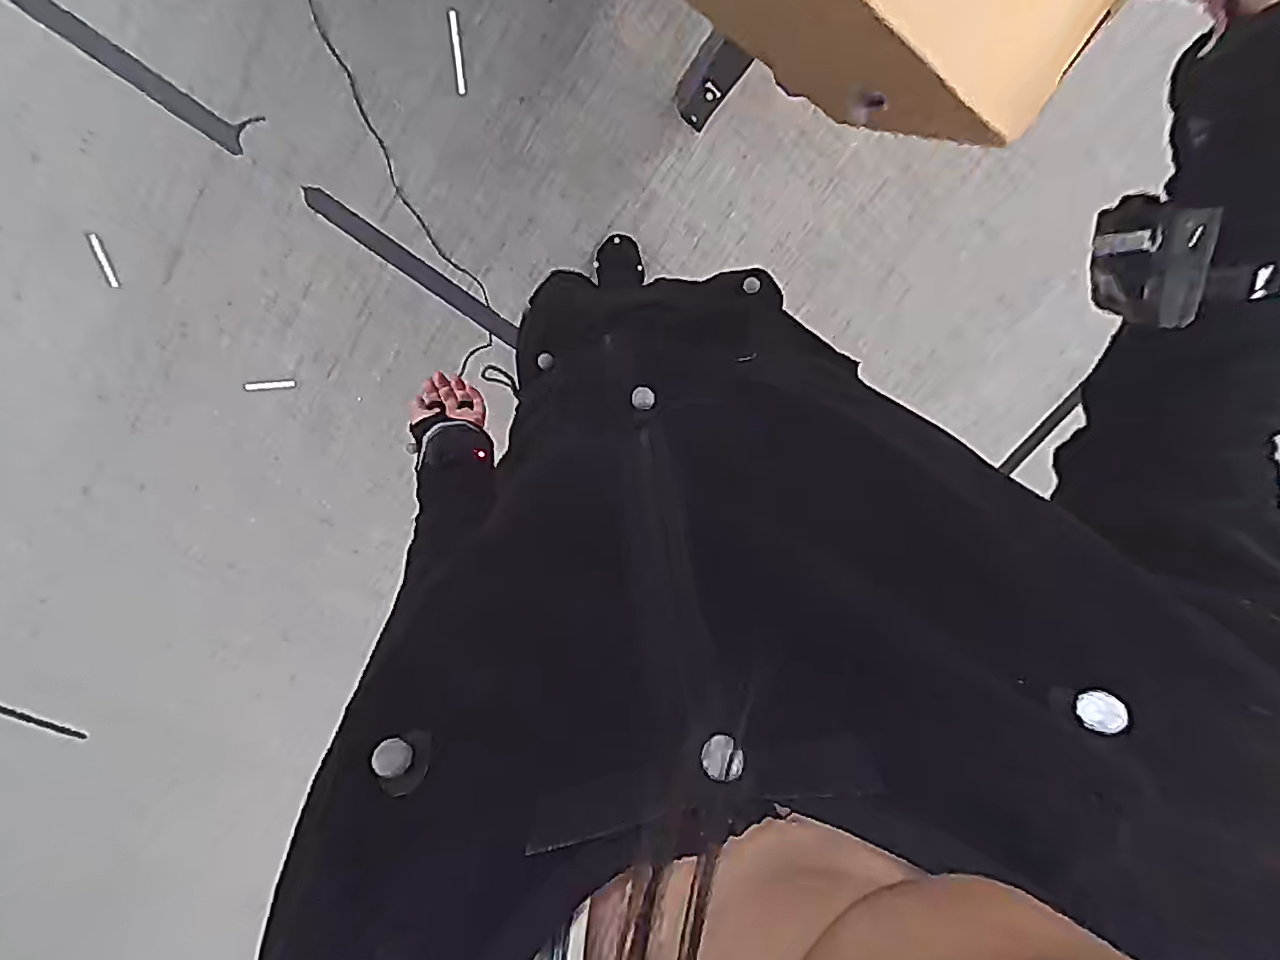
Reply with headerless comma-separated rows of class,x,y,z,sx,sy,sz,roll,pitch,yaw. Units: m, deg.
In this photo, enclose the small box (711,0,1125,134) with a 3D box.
small box,0.133,-0.299,0.251,0.179,0.176,0.168,16,119,-27
